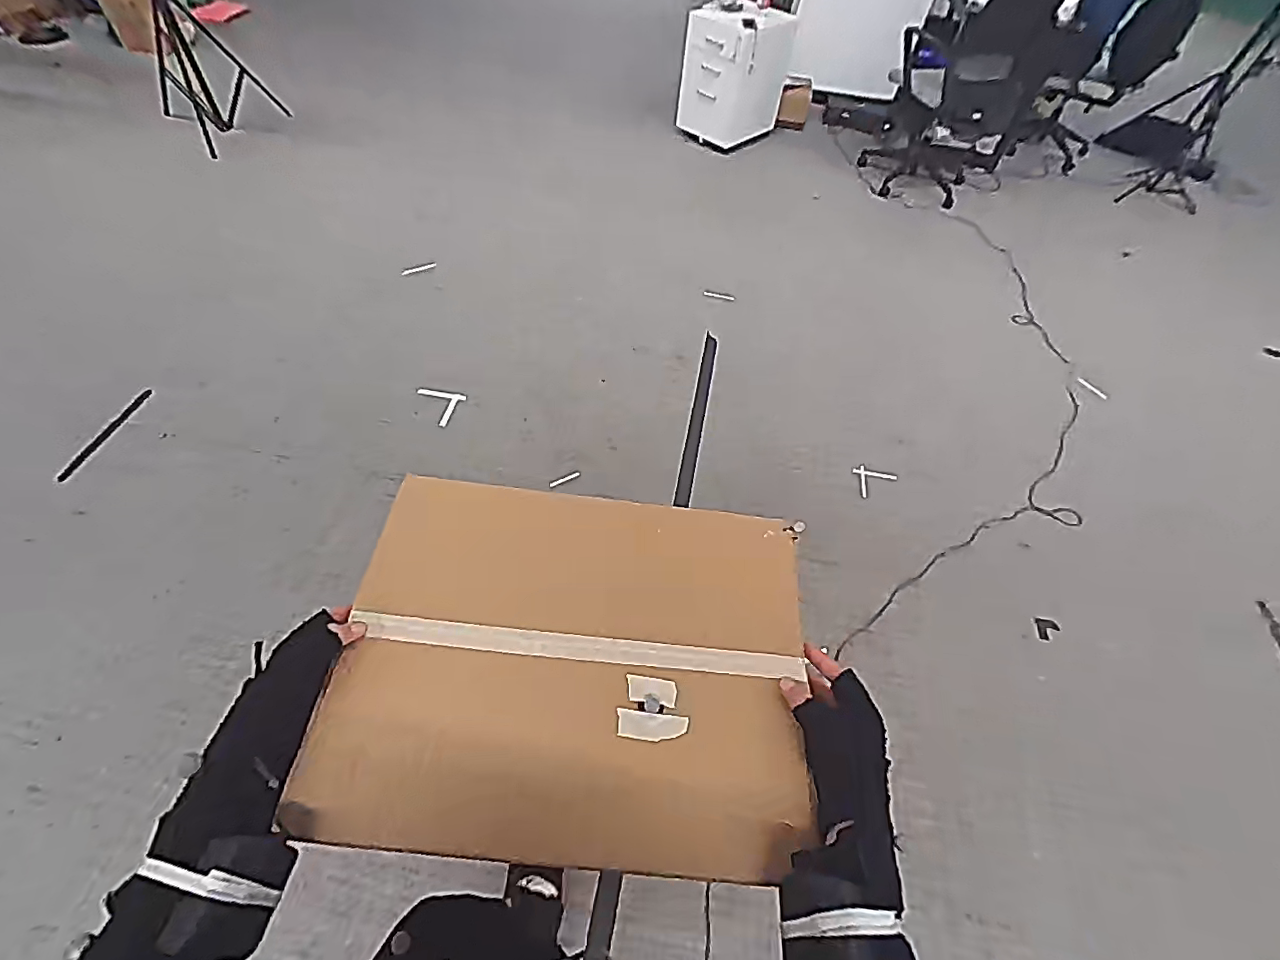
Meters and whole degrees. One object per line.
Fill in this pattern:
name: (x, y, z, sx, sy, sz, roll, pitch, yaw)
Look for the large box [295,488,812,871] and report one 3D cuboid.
large box: (-0.069, 0.237, 0.615, 0.408, 0.320, 0.320, 7, 57, -3)
